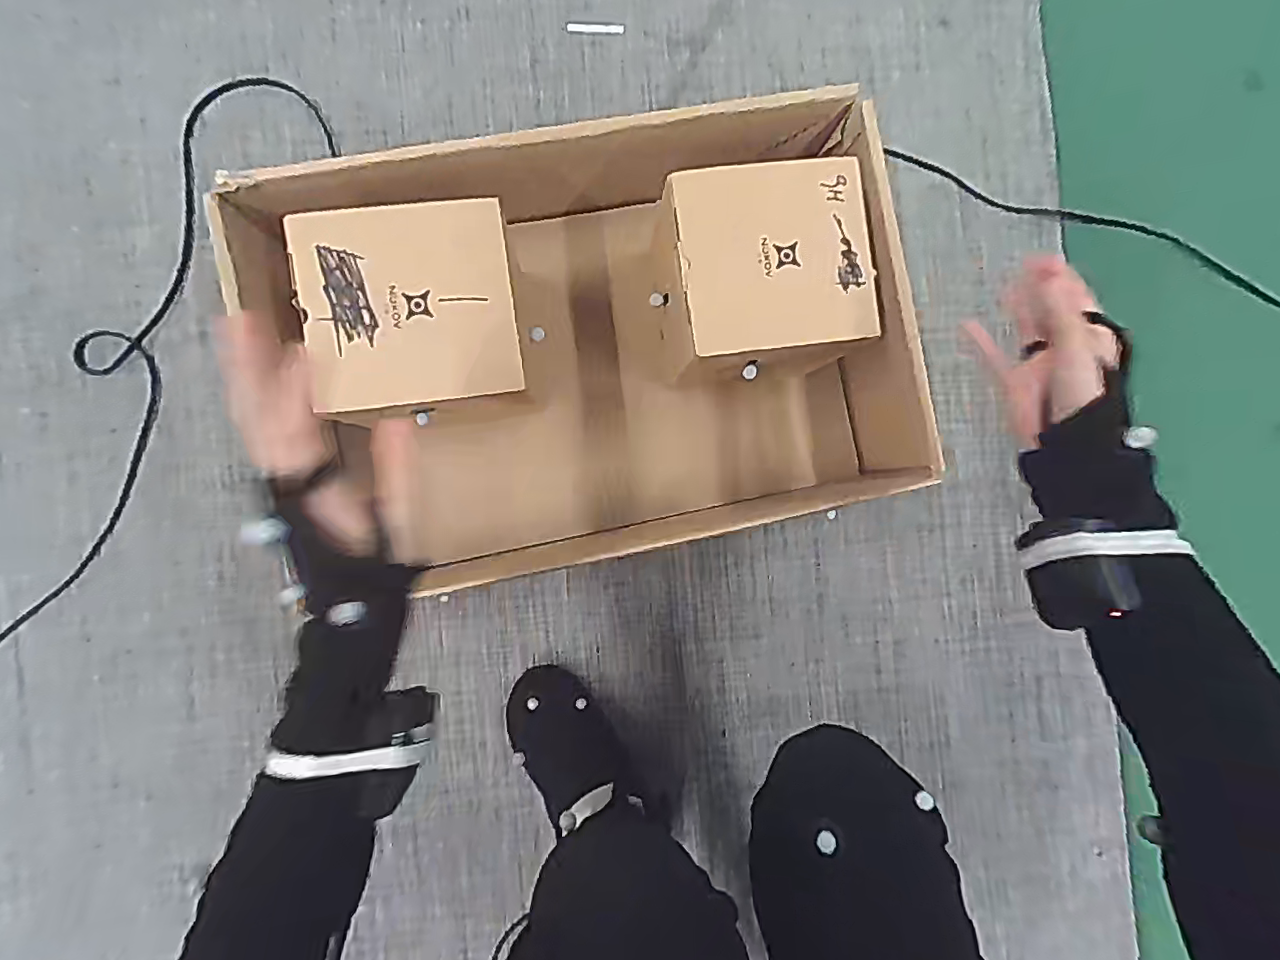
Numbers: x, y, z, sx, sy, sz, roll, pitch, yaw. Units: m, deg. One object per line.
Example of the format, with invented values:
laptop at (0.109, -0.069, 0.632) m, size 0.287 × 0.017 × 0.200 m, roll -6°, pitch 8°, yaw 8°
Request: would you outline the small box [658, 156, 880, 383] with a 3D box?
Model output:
small box at (0.115, -0.200, 0.558) m, size 0.179 × 0.176 × 0.168 m, roll -6°, pitch 90°, yaw -5°
